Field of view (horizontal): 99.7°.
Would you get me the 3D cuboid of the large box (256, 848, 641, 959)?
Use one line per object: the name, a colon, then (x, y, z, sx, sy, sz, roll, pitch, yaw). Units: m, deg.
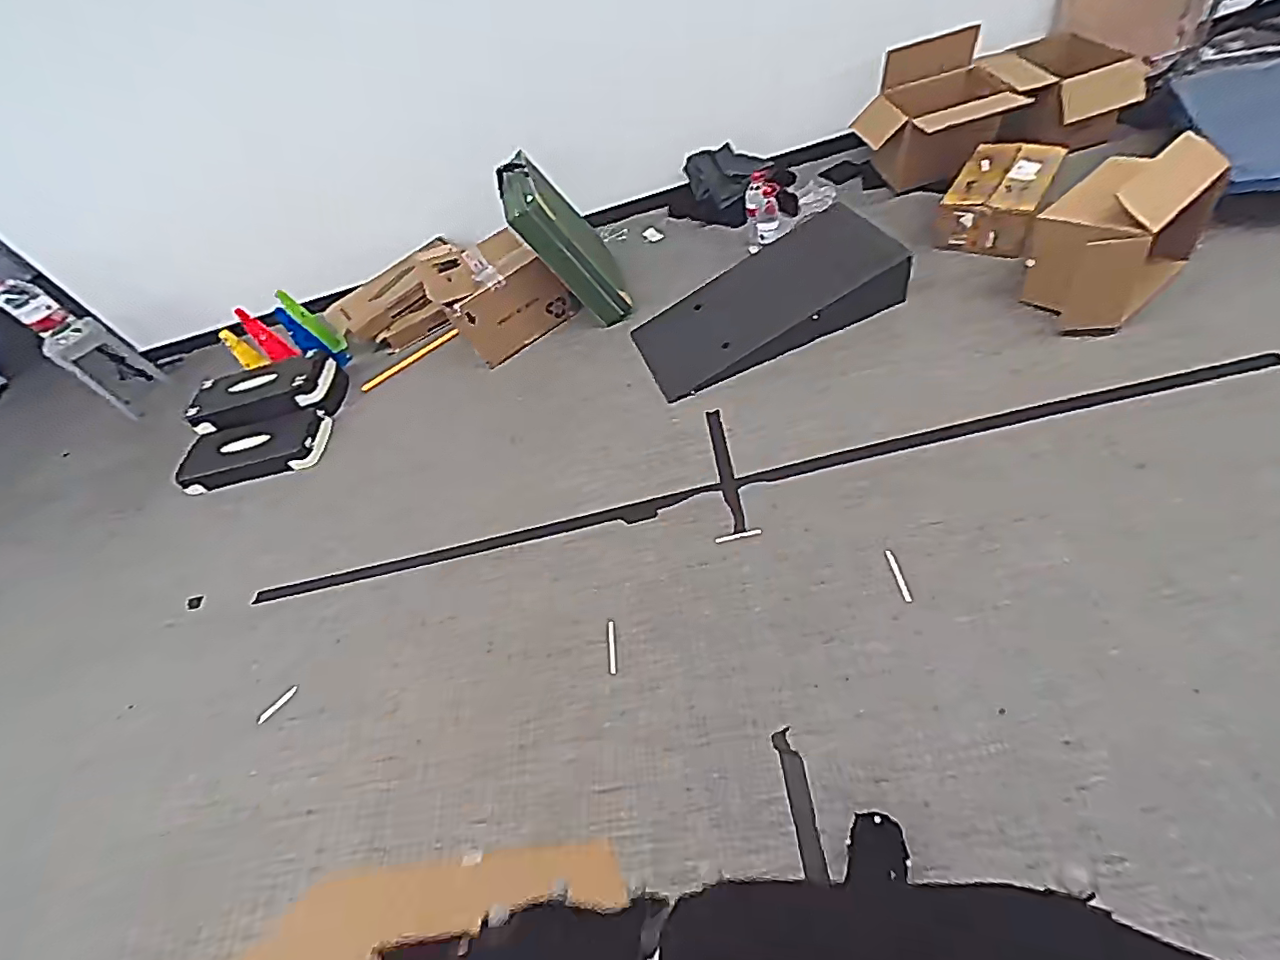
large box: (-0.148, 0.576, 0.415, 0.320, 0.320, 0.408, -2, 69, -12)
